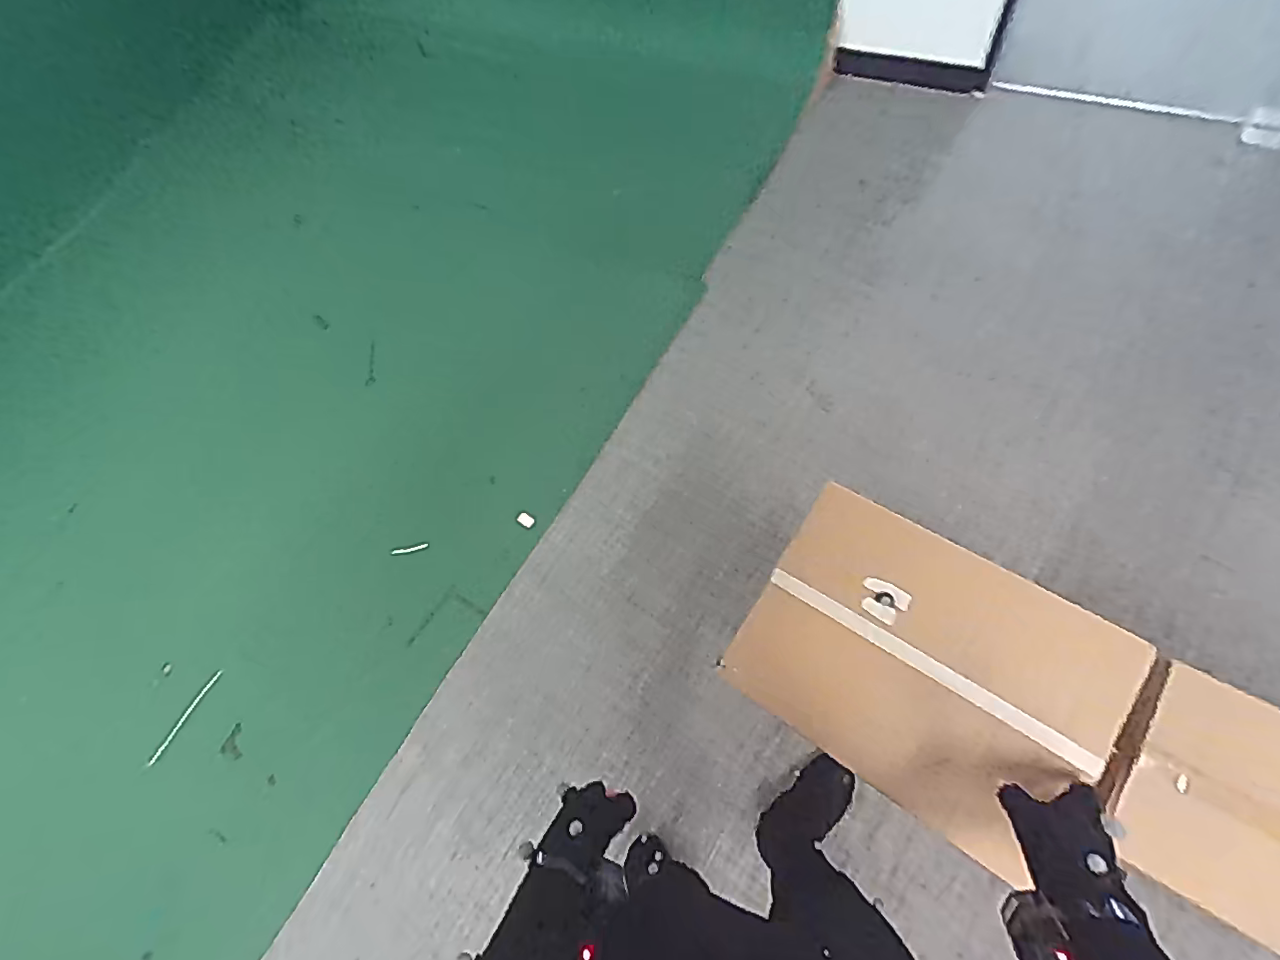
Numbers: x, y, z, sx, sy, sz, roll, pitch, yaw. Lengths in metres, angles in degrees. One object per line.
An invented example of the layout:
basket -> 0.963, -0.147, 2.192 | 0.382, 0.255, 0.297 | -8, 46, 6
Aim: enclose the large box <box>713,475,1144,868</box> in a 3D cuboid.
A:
large box -> 0.380, 0.249, 0.811 | 0.408, 0.320, 0.320 | 31, 84, 23
